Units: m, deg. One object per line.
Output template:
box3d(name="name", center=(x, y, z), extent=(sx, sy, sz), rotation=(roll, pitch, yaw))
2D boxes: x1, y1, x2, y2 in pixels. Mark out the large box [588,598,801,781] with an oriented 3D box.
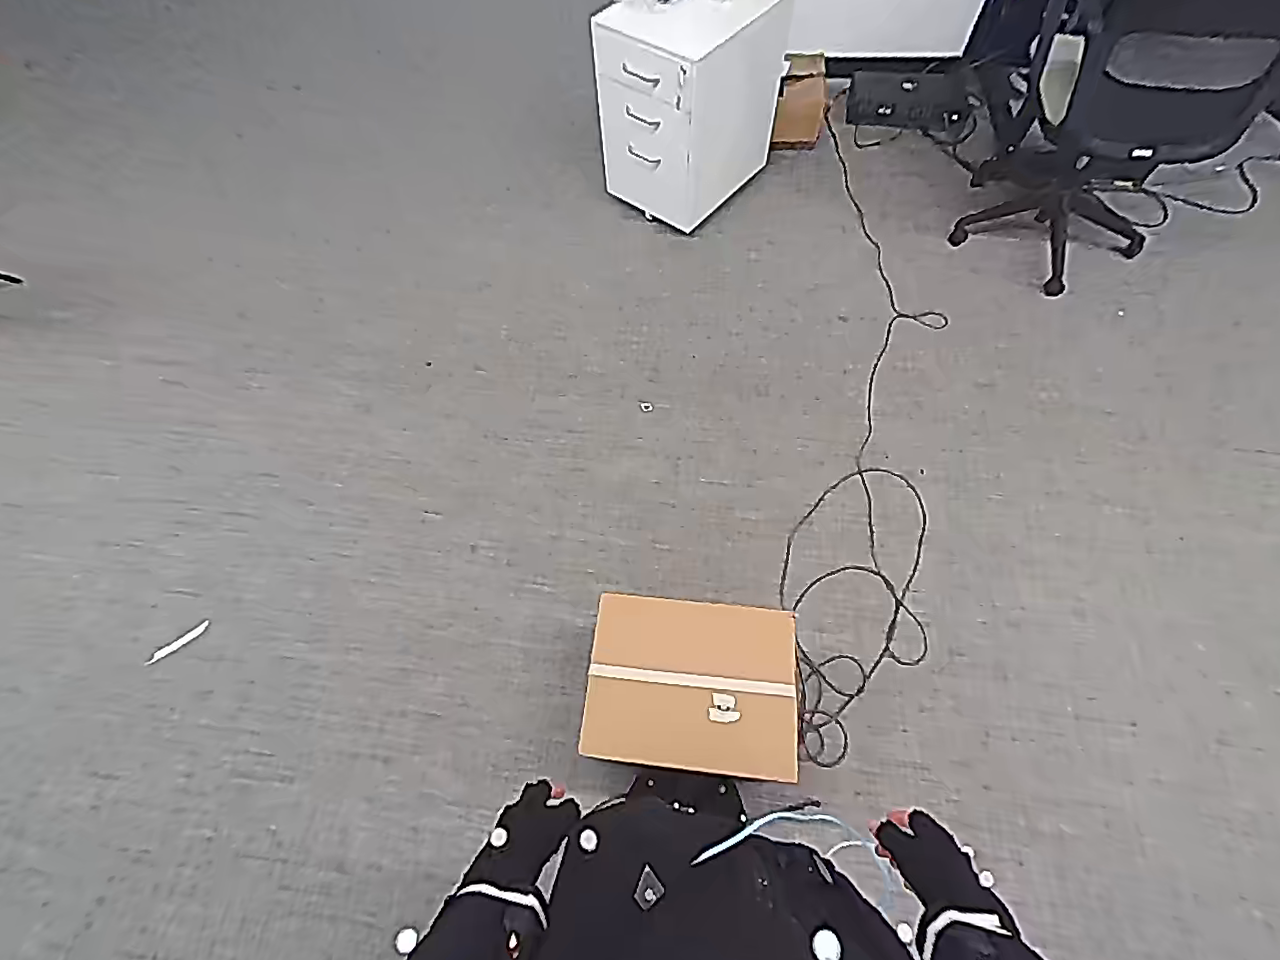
box3d(name="large box", center=(0.117, 0.469, 1.198), extent=(0.408, 0.320, 0.320), rotation=(4, 63, 5))
